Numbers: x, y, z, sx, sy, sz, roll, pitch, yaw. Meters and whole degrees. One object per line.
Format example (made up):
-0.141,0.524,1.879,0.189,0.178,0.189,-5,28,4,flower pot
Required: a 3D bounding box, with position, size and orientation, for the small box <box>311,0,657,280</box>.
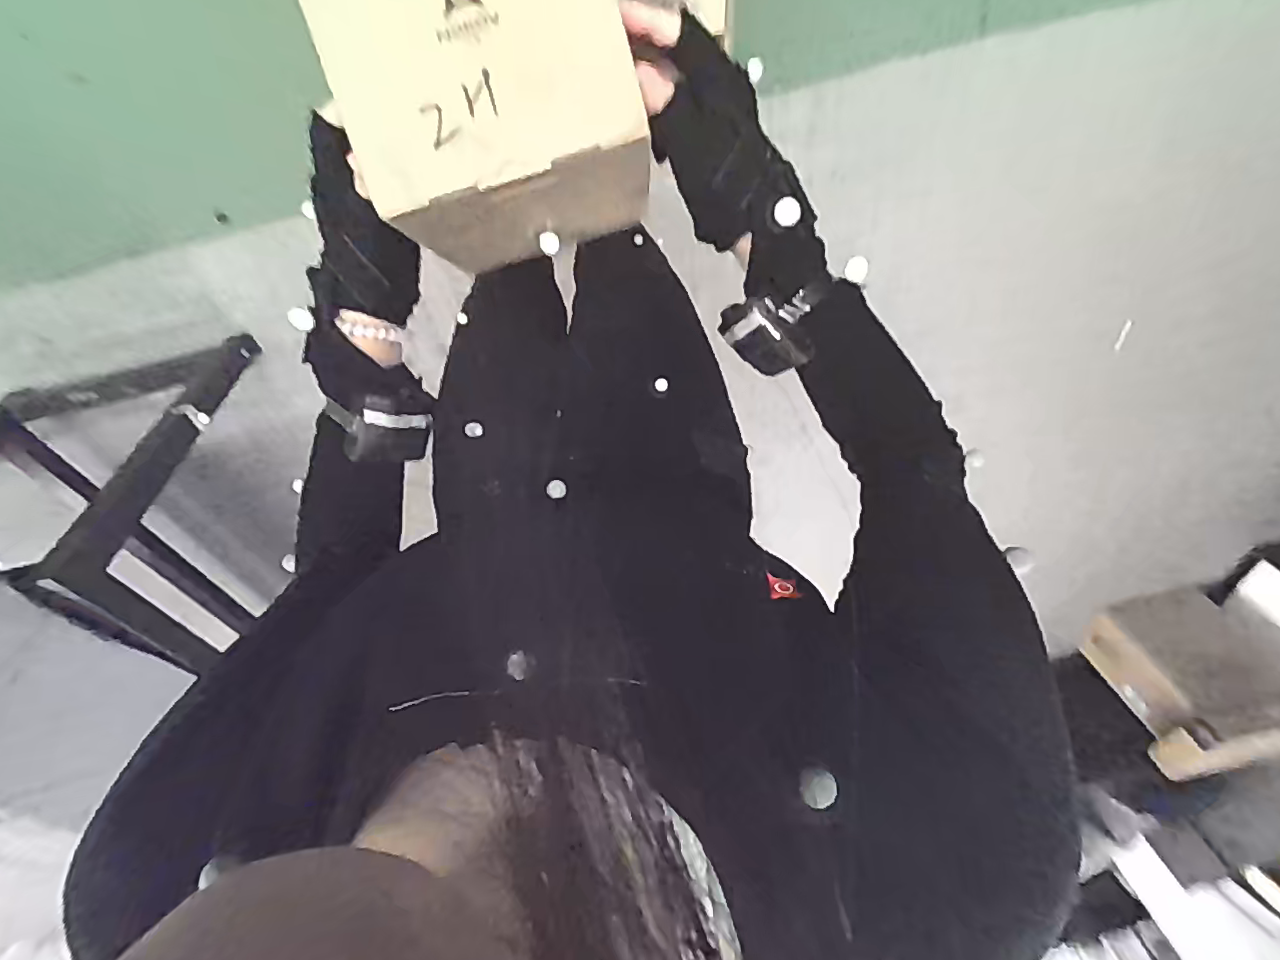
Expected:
-0.091,-0.261,0.372,0.168,0.176,0.179,-16,99,3,small box
